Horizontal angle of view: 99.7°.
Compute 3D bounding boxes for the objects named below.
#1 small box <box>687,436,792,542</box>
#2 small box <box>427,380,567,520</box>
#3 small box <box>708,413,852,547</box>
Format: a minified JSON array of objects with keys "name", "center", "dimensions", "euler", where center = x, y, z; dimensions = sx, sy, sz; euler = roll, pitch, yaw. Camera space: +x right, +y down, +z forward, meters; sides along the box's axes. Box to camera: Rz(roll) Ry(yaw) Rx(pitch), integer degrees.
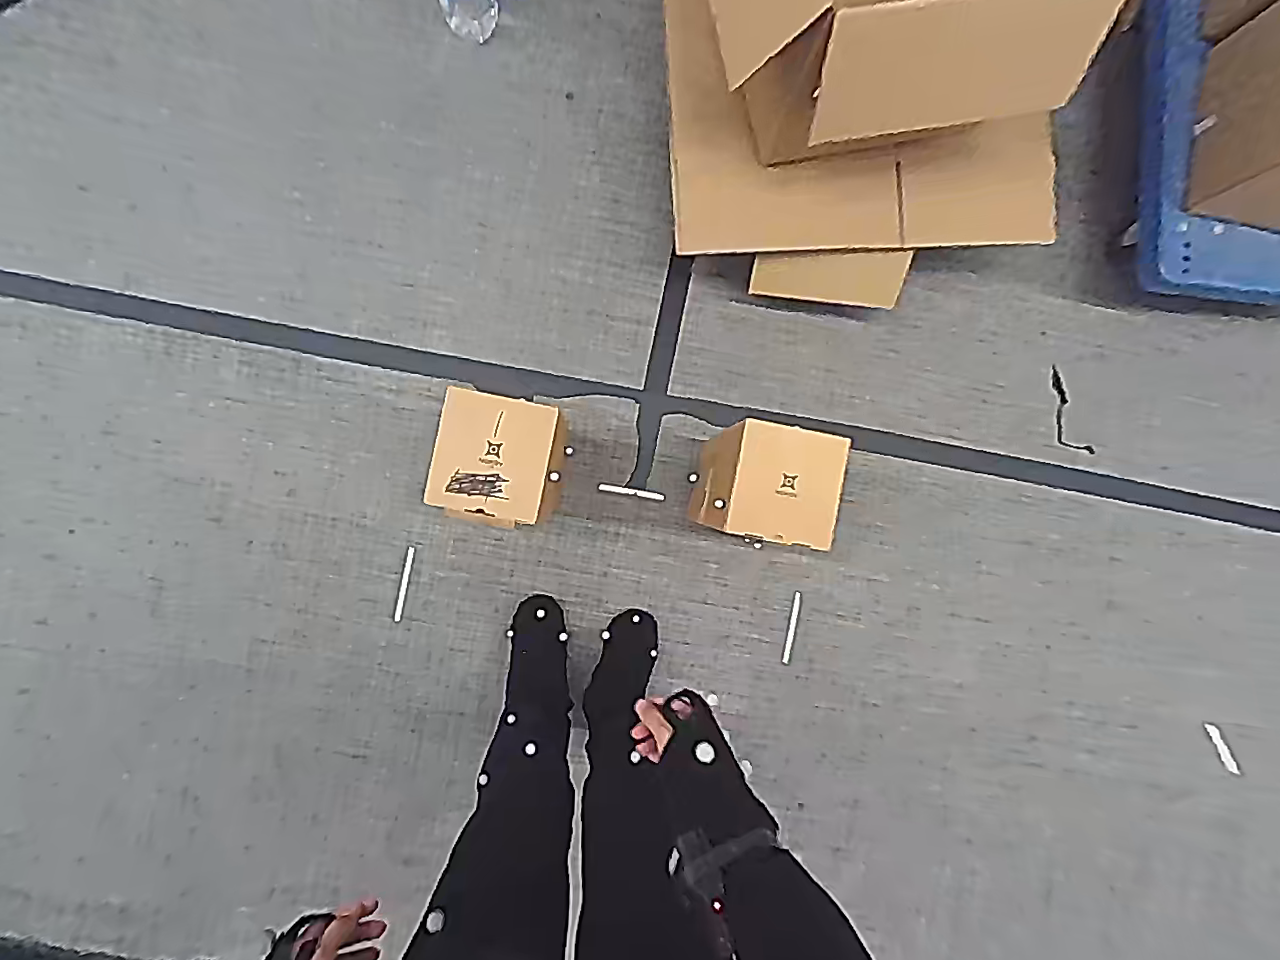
[{"name":"small box","center":[0.204,0.011,1.045],"dimensions":[0.179,0.176,0.168],"euler":[15,89,-4]},{"name":"small box","center":[-0.213,-0.041,0.853],"dimensions":[0.168,0.176,0.179],"euler":[11,88,-4]},{"name":"small box","center":[0.218,-0.001,0.883],"dimensions":[0.168,0.176,0.179],"euler":[11,90,-5]}]
